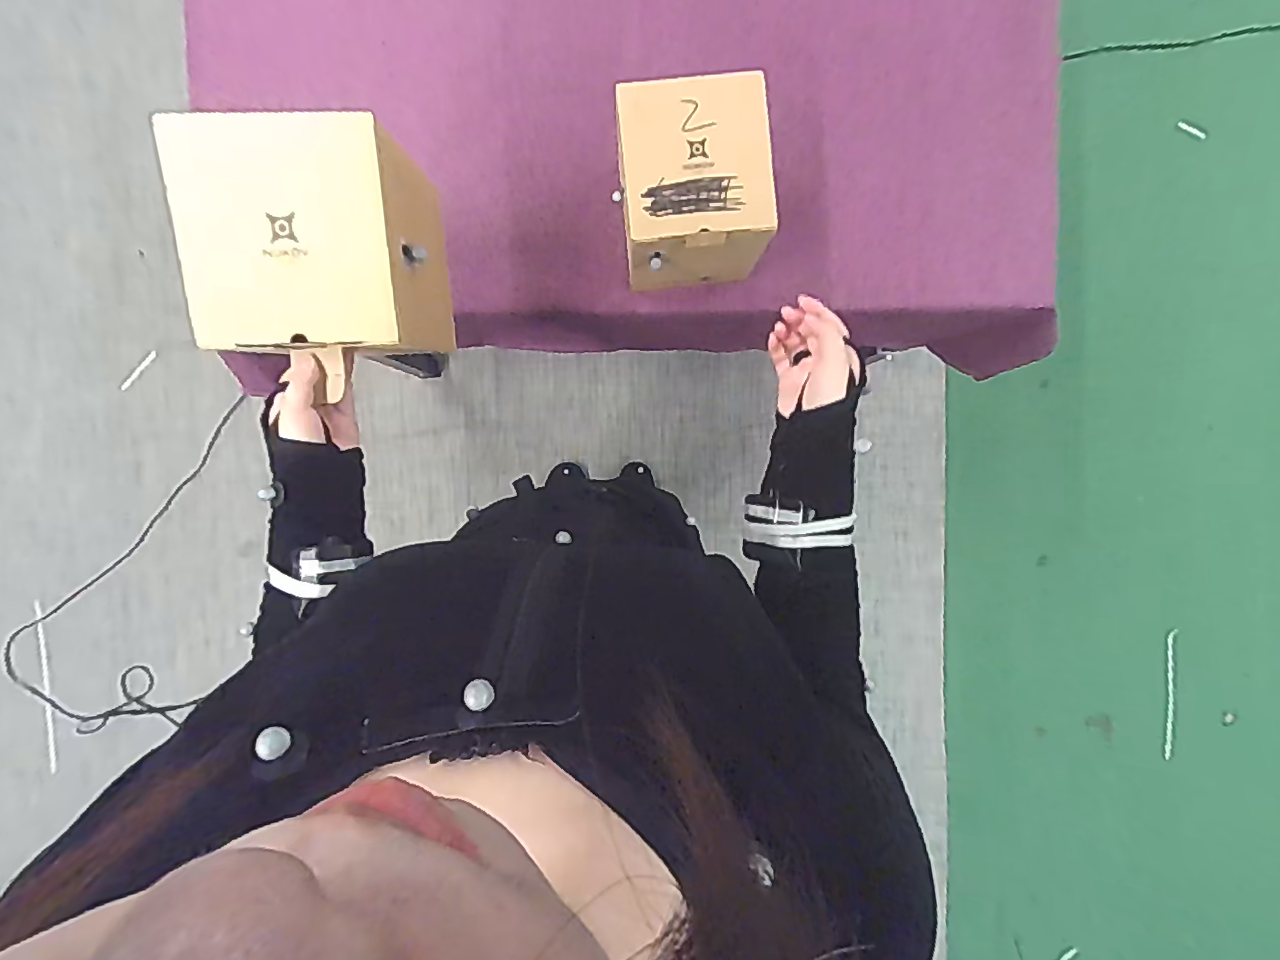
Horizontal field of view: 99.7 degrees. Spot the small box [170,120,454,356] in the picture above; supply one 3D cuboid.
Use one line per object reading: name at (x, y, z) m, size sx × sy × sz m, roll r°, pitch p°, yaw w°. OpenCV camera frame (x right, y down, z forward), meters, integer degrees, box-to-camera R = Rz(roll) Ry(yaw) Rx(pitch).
small box at (-0.287, -0.211, 0.517) m, size 0.168 × 0.176 × 0.179 m, roll -2°, pitch 102°, yaw -3°
